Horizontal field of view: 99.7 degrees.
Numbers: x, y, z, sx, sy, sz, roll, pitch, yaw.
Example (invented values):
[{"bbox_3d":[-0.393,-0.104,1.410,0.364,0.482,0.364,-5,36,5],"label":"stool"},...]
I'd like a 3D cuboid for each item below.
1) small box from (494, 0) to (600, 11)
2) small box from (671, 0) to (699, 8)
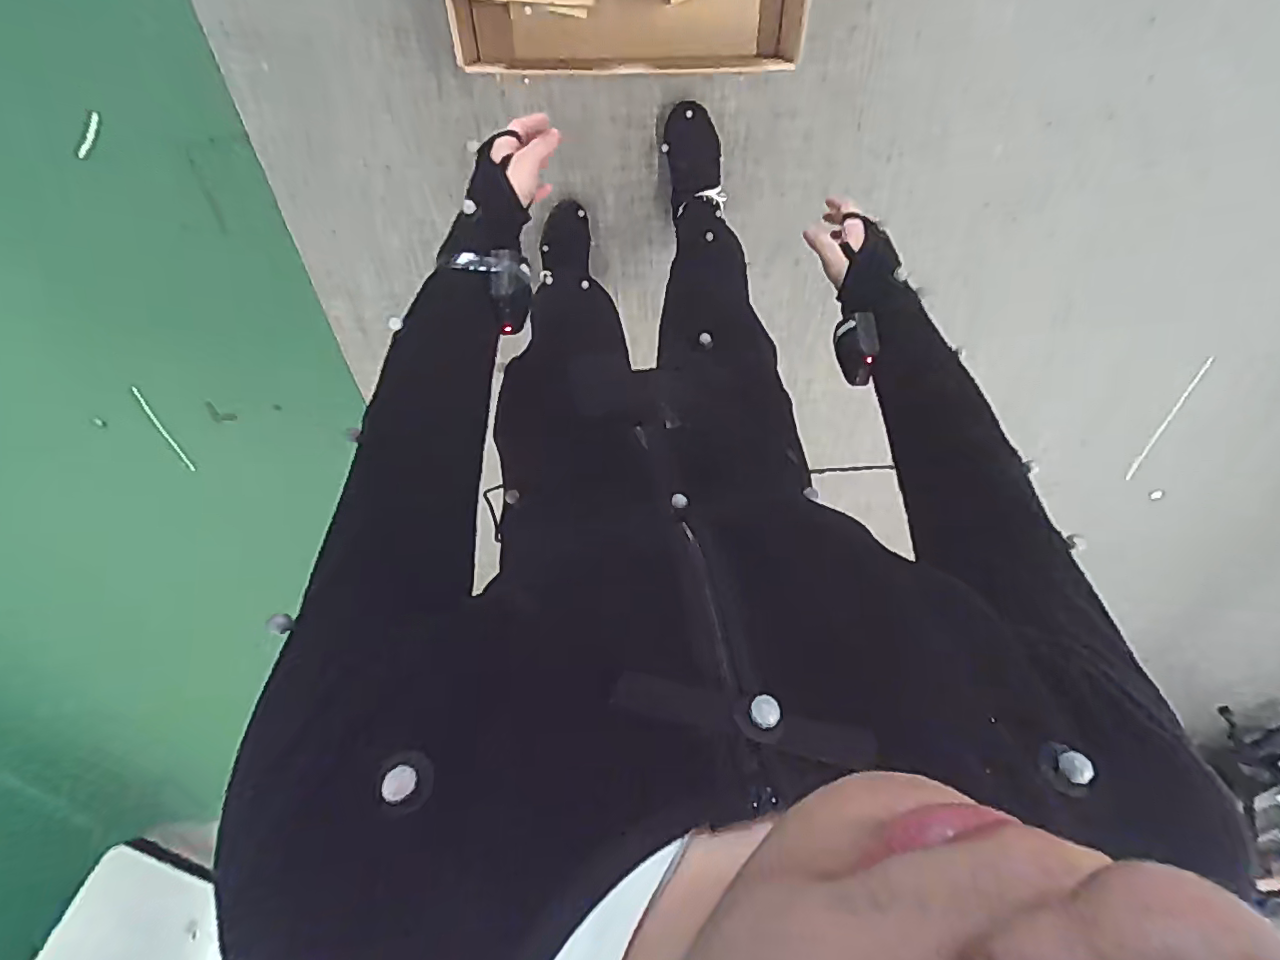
[{"bbox_3d":[-0.143,-0.784,0.769,0.179,0.176,0.168,1,130,-4],"label":"small box"},{"bbox_3d":[0.111,-0.911,0.882,0.168,0.176,0.179,-13,130,11],"label":"small box"}]
